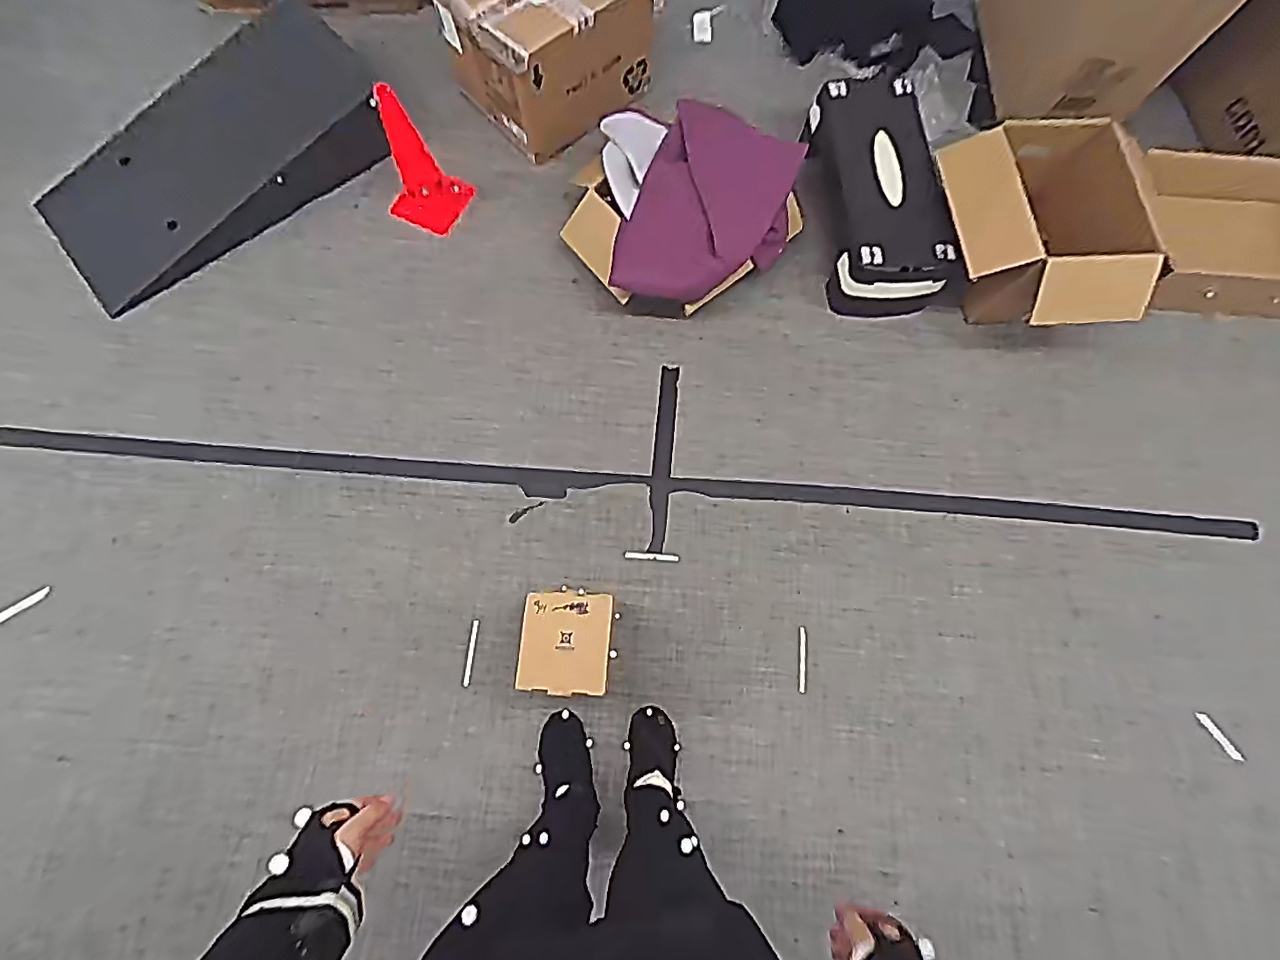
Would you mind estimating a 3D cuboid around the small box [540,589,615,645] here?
[{"bbox_3d":[-0.146,0.348,1.236,0.168,0.176,0.179,3,76,0],"label":"small box"}]

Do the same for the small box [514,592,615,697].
[{"bbox_3d":[-0.140,0.322,1.073,0.168,0.176,0.179,5,75,1],"label":"small box"}]
